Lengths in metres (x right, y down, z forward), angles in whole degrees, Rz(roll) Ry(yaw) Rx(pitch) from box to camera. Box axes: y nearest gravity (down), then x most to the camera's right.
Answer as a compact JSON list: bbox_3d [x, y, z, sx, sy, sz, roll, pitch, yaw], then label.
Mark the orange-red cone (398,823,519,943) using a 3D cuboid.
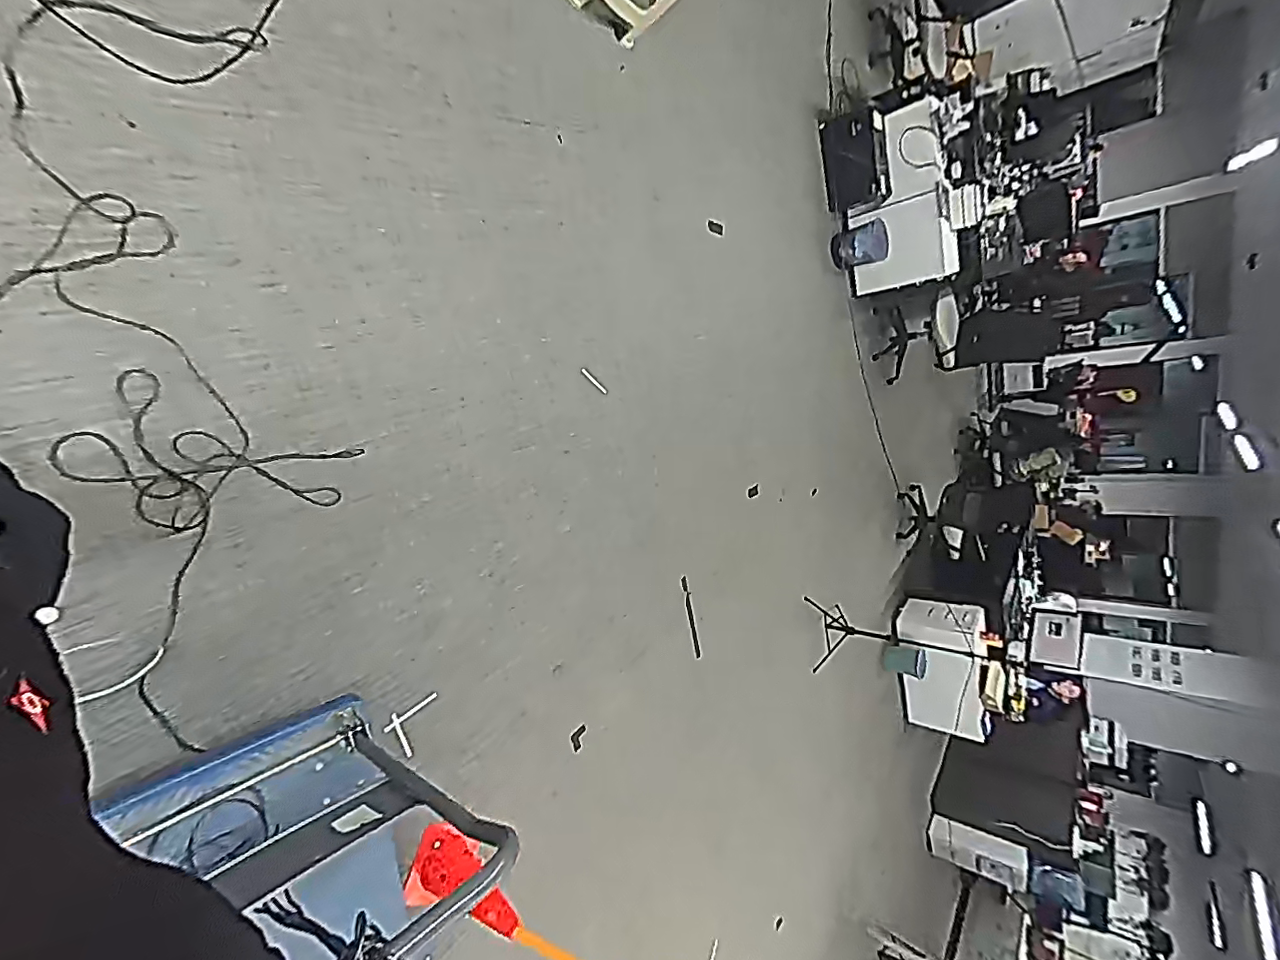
[{"bbox_3d":[-0.429,1.075,1.395,0.198,0.360,0.199,36,65,-42],"label":"orange-red cone"}]
